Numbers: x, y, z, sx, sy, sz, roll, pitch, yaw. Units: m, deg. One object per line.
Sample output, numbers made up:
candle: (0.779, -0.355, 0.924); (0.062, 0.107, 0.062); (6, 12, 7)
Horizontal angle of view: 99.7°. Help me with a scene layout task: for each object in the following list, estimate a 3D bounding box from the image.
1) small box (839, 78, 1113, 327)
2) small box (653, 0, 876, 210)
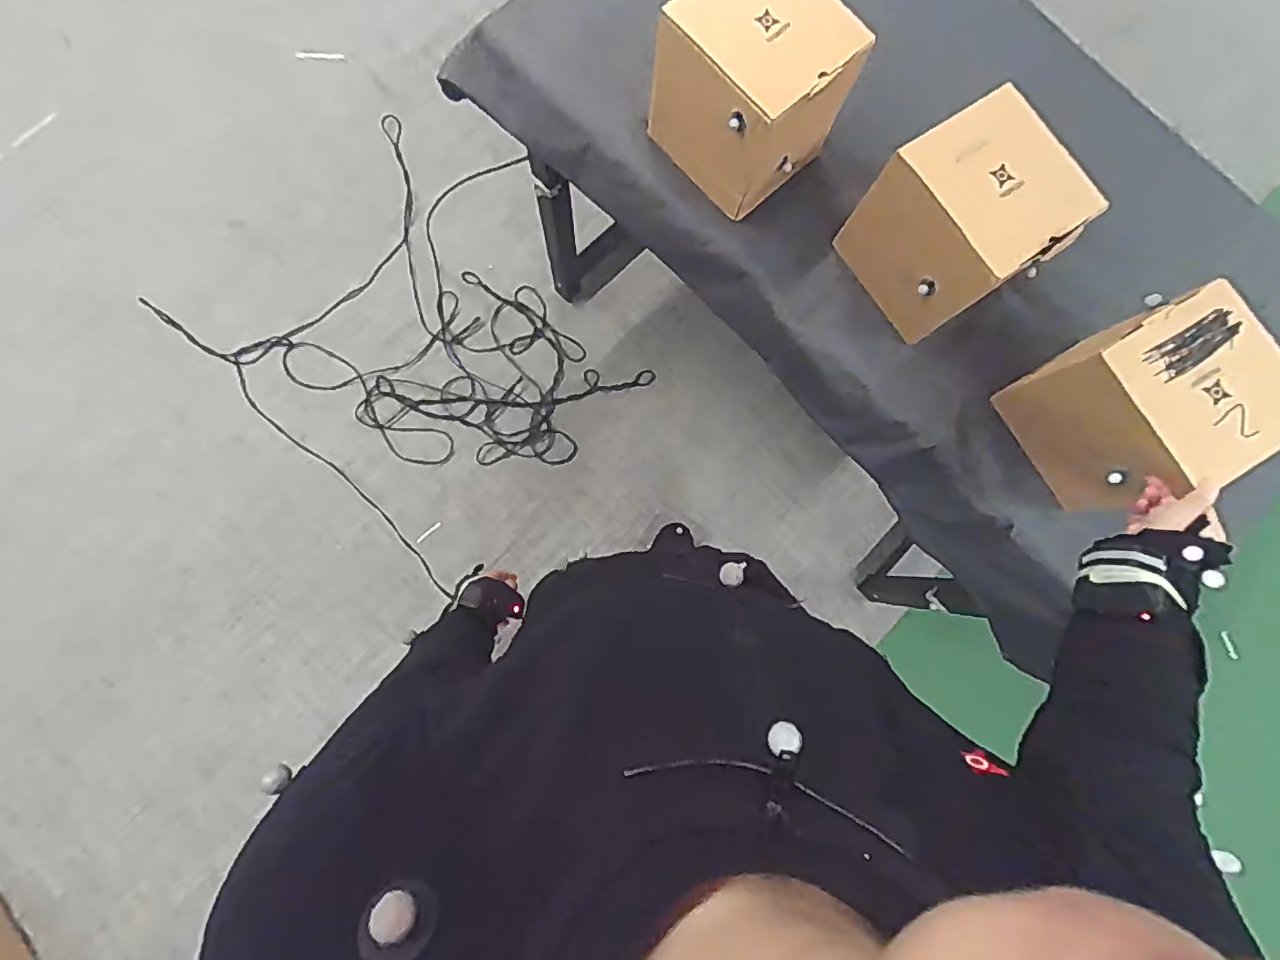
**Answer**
small box: (0.376, -0.306, 0.639); (0.168, 0.176, 0.179); (-34, 83, -9)
small box: (0.132, -0.475, 0.652); (0.168, 0.176, 0.179); (-43, 86, -9)
